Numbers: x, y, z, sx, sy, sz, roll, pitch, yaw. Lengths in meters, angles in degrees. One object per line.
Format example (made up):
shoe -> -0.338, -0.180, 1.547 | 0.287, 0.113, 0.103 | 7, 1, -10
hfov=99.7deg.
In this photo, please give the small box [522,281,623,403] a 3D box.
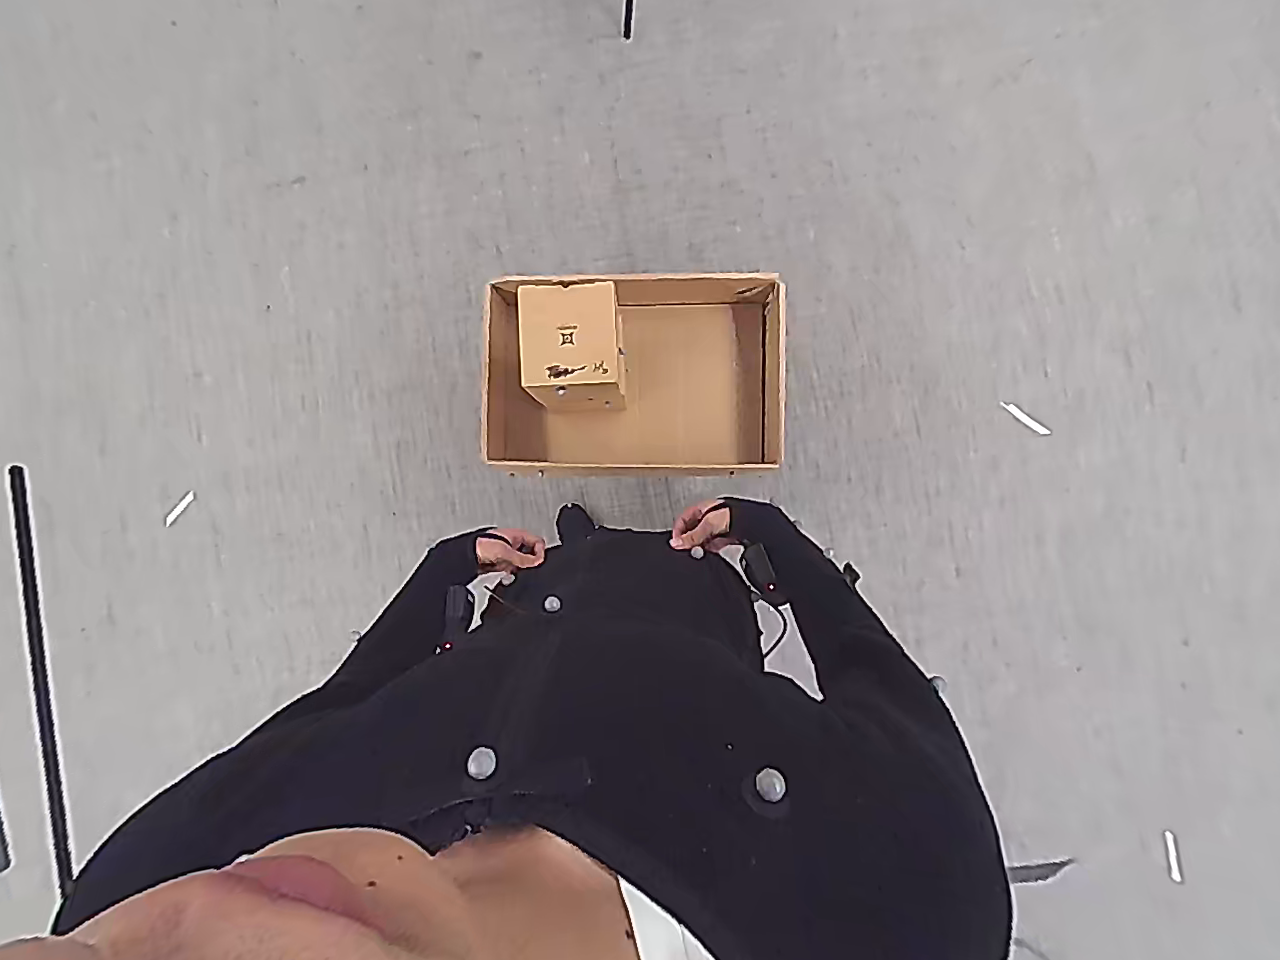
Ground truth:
small box -> -0.117, -0.246, 0.990 | 0.168, 0.176, 0.179 | -2, 88, 1
